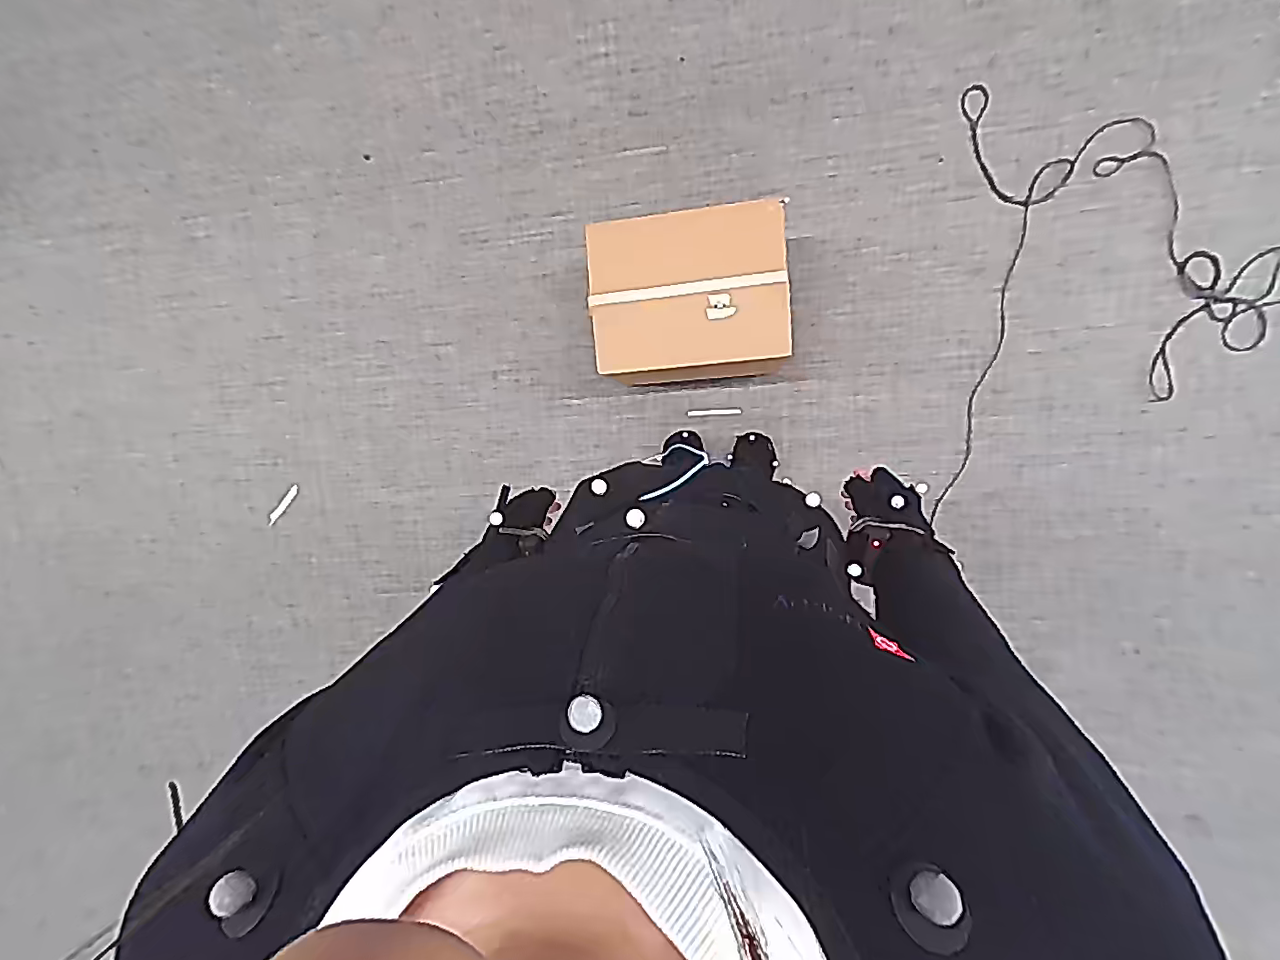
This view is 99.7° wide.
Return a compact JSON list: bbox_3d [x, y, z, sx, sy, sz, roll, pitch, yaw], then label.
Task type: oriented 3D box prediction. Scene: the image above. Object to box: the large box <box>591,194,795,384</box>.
[{"bbox_3d":[0.126,-0.410,1.255,0.408,0.320,0.320,-4,95,9],"label":"large box"}]
